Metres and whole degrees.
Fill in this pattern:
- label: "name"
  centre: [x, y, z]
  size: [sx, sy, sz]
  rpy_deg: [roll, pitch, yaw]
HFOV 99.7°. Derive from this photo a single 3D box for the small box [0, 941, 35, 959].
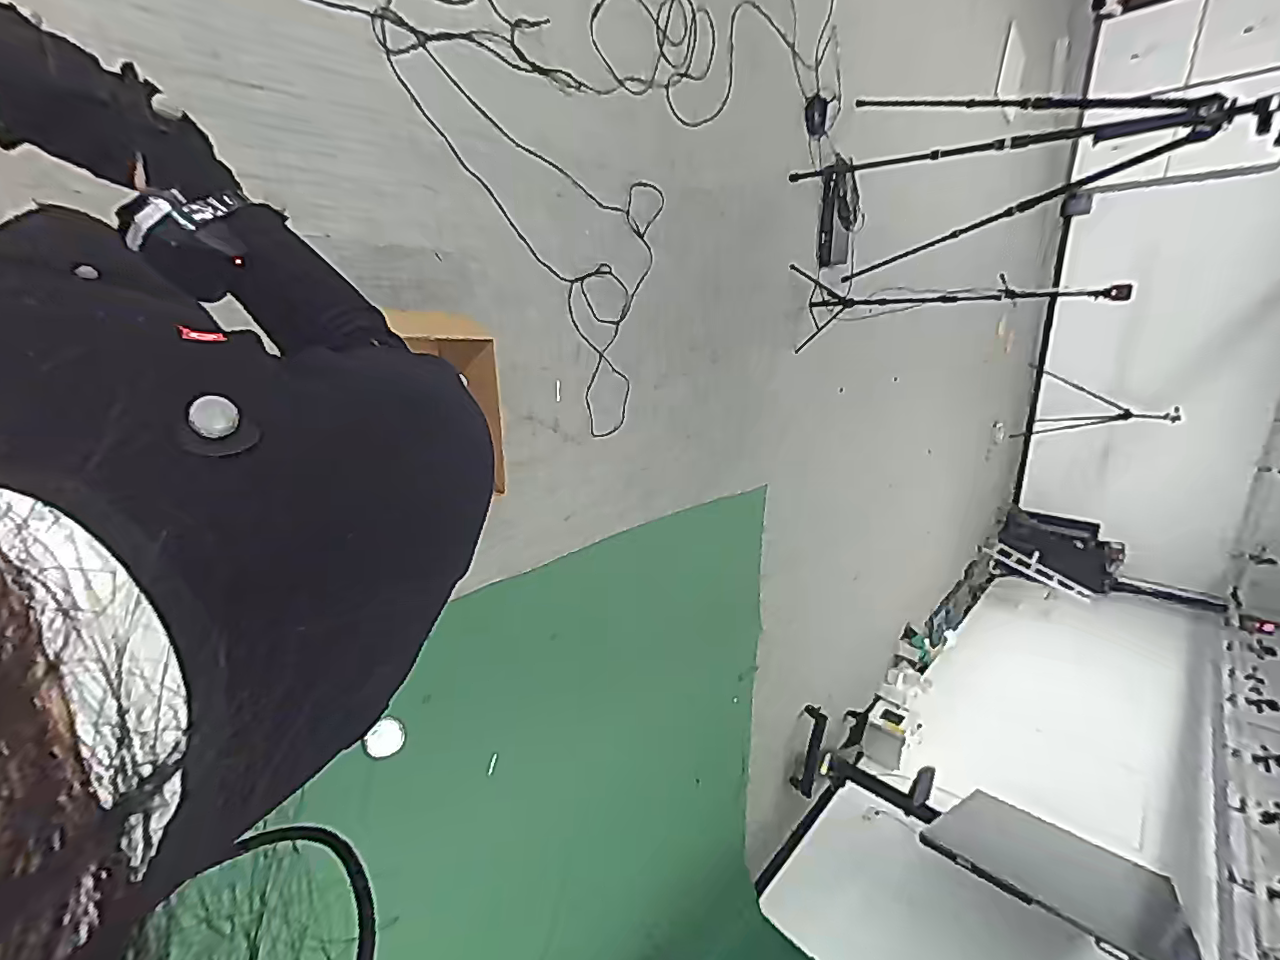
- label: "small box"
  centre: [-1.294, 1.070, 1.045]
  size: [0.179, 0.176, 0.168]
  rpy_deg: [-21, 116, -43]
